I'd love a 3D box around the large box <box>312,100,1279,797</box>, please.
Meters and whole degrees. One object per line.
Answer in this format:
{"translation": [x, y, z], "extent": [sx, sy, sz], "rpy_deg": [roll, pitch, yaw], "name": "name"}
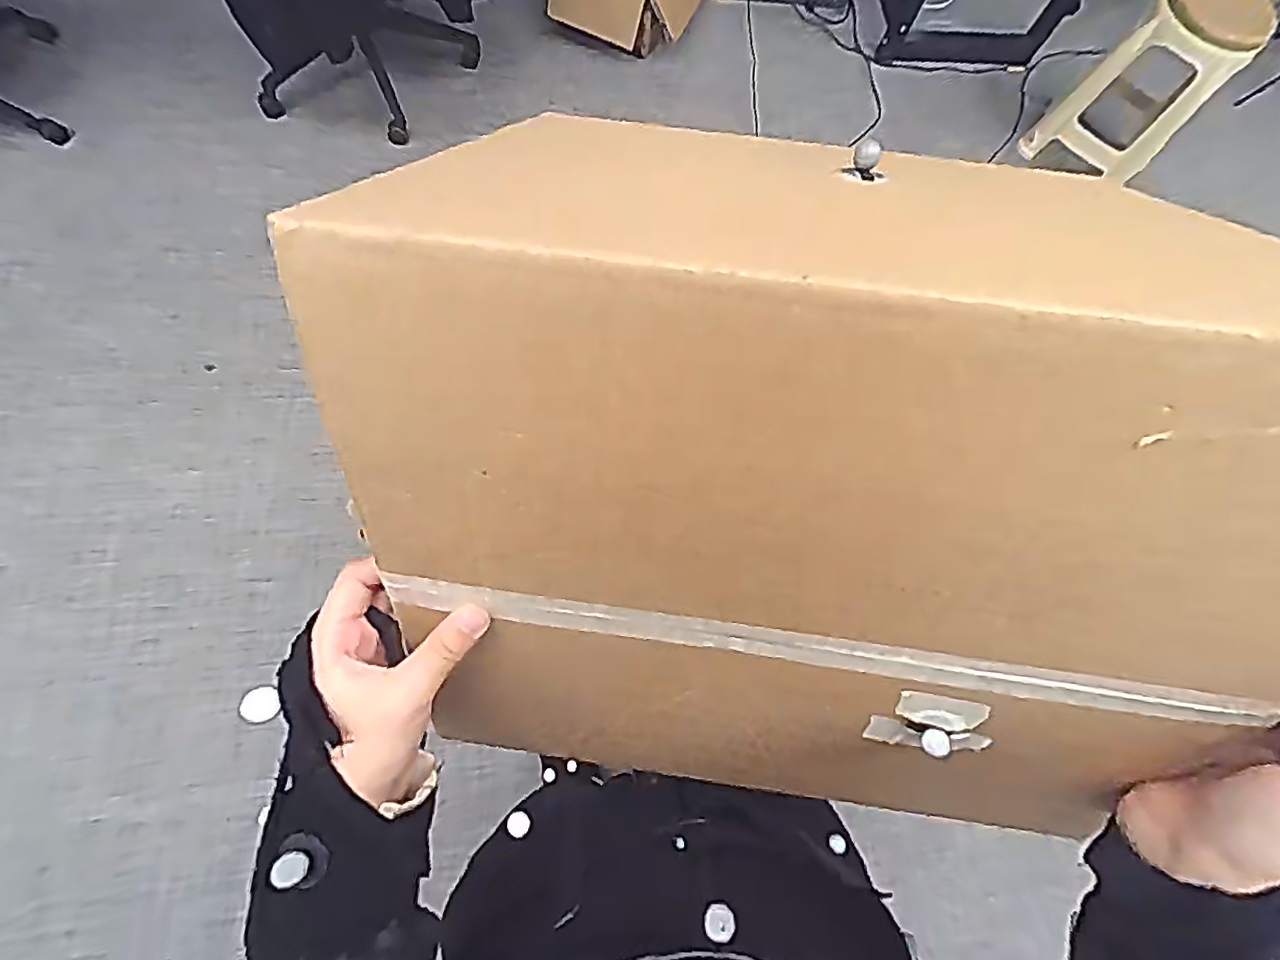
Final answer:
{"translation": [0.106, -0.044, 0.352], "extent": [0.408, 0.320, 0.320], "rpy_deg": [7, 39, 2], "name": "large box"}
